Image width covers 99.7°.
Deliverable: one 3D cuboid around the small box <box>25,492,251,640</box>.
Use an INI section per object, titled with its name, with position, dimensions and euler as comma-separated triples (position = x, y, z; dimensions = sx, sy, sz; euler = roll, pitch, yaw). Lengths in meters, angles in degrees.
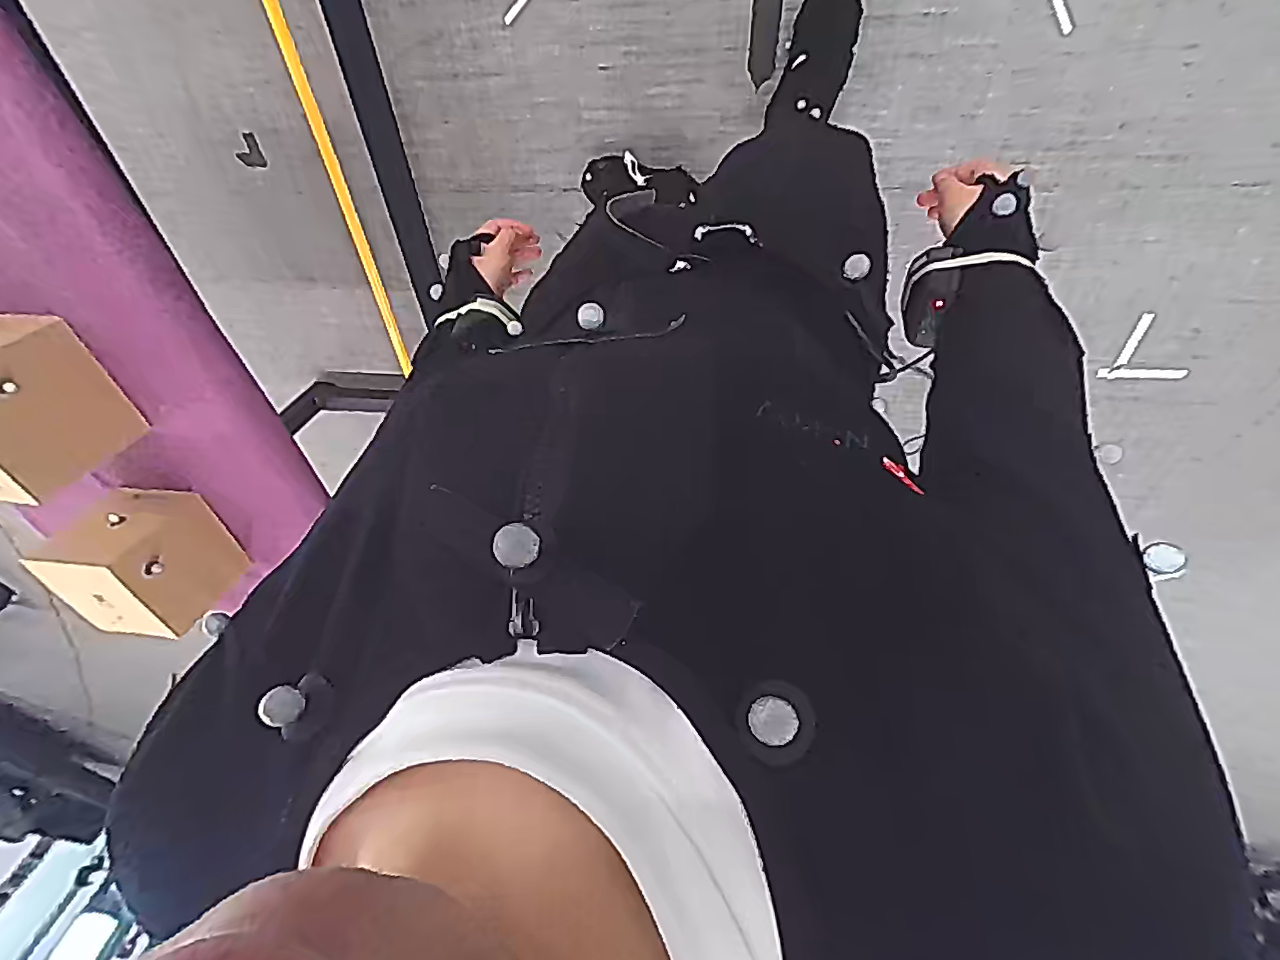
[small box]
position = -0.807, 0.137, 0.893
dimensions = 0.168, 0.176, 0.179
euler = 3, 130, 11
